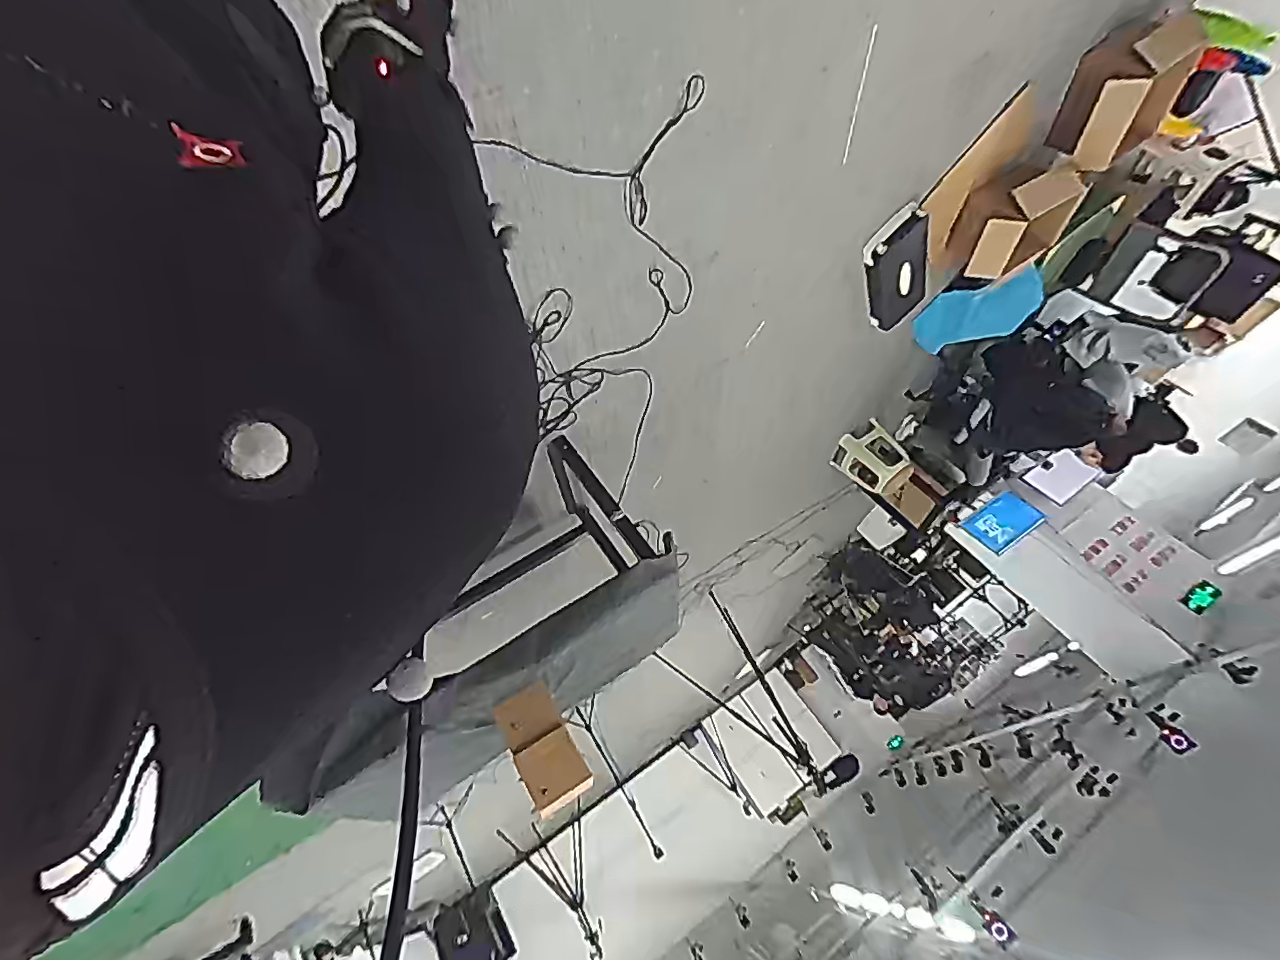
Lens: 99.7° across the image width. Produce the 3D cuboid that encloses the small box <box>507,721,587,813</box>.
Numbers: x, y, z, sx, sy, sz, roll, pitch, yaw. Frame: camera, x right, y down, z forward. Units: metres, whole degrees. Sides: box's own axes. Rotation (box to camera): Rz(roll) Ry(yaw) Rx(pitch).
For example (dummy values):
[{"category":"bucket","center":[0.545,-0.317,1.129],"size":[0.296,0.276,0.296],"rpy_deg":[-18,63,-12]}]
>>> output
[{"category":"small box","center":[-0.276,0.850,1.610],"size":[0.179,0.176,0.168],"rpy_deg":[-24,149,-24]}]

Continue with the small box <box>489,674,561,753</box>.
[{"category":"small box","center":[-0.364,0.749,1.704],"size":[0.179,0.176,0.168],"rpy_deg":[-26,150,-23]}]
